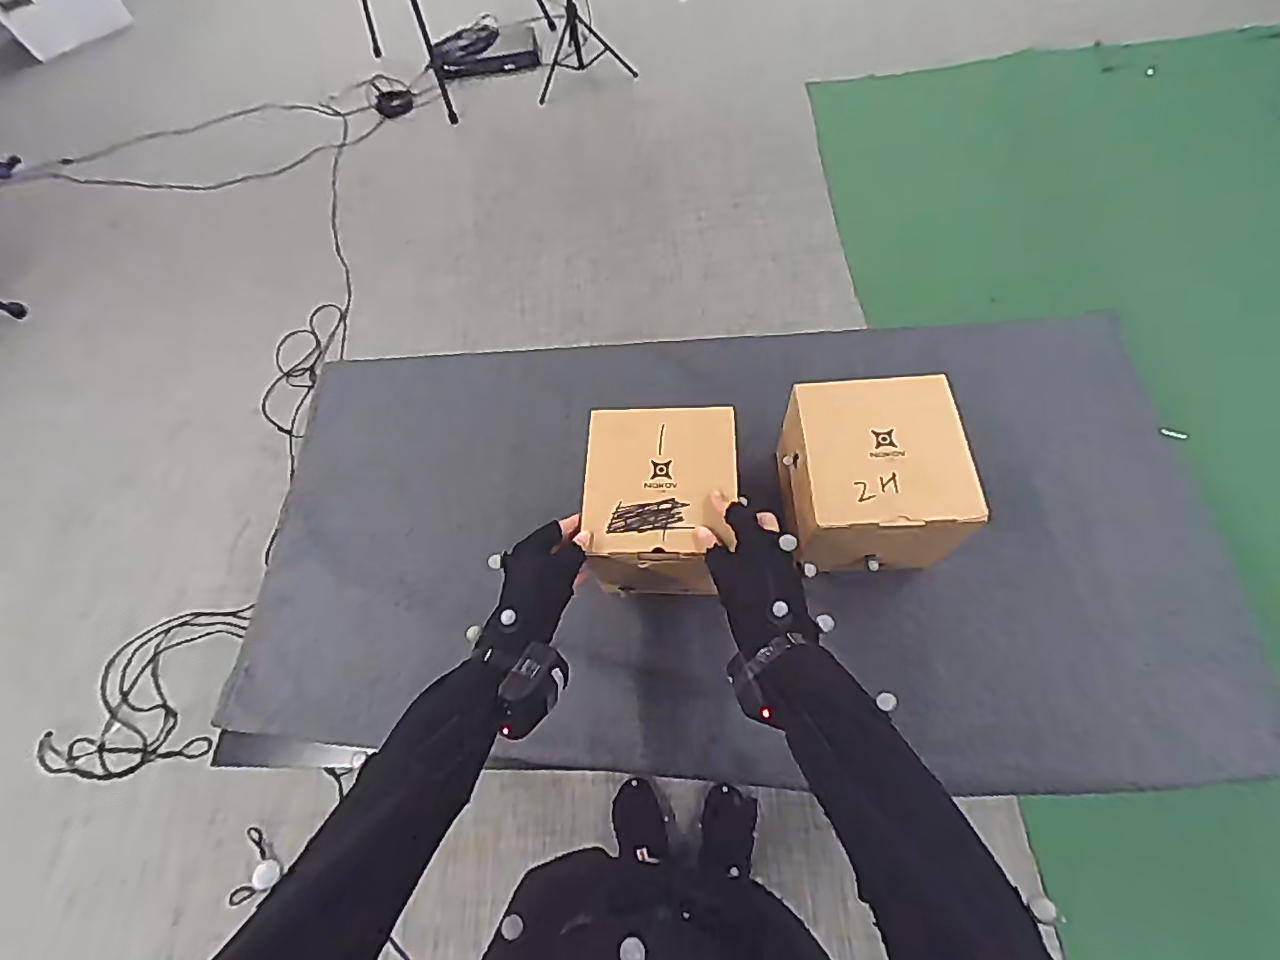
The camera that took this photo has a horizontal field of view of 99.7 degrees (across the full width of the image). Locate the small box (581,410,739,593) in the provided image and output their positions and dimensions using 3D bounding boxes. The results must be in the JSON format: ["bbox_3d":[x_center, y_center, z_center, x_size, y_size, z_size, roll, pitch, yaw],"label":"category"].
[{"bbox_3d":[0.033,0.035,0.654,0.168,0.176,0.179,-1,64,6],"label":"small box"}]

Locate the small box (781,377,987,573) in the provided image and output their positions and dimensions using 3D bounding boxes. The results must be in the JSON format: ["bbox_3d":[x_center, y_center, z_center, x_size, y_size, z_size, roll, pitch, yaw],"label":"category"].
[{"bbox_3d":[0.266,0.002,0.641,0.168,0.176,0.179,-3,65,7],"label":"small box"}]
